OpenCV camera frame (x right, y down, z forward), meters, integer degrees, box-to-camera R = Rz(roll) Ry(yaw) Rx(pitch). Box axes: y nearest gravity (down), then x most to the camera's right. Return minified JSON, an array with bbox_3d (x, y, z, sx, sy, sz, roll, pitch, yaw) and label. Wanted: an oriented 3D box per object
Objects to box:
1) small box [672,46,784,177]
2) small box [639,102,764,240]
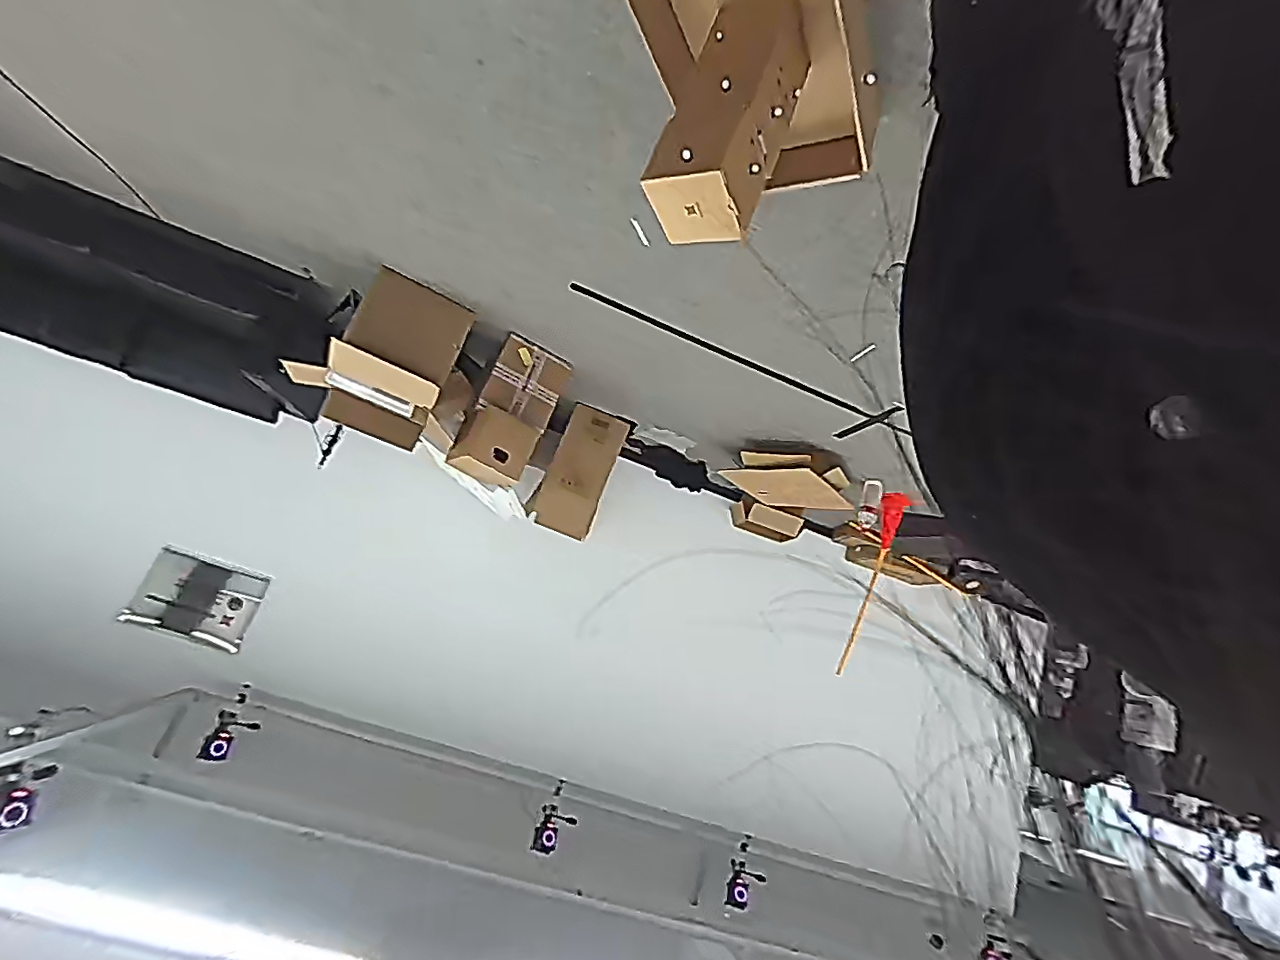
[{"bbox_3d":[0.193,-0.759,1.131,0.179,0.176,0.168,11,162,30],"label":"small box"},{"bbox_3d":[0.129,-0.614,1.088,0.179,0.176,0.168,11,162,31],"label":"small box"}]
